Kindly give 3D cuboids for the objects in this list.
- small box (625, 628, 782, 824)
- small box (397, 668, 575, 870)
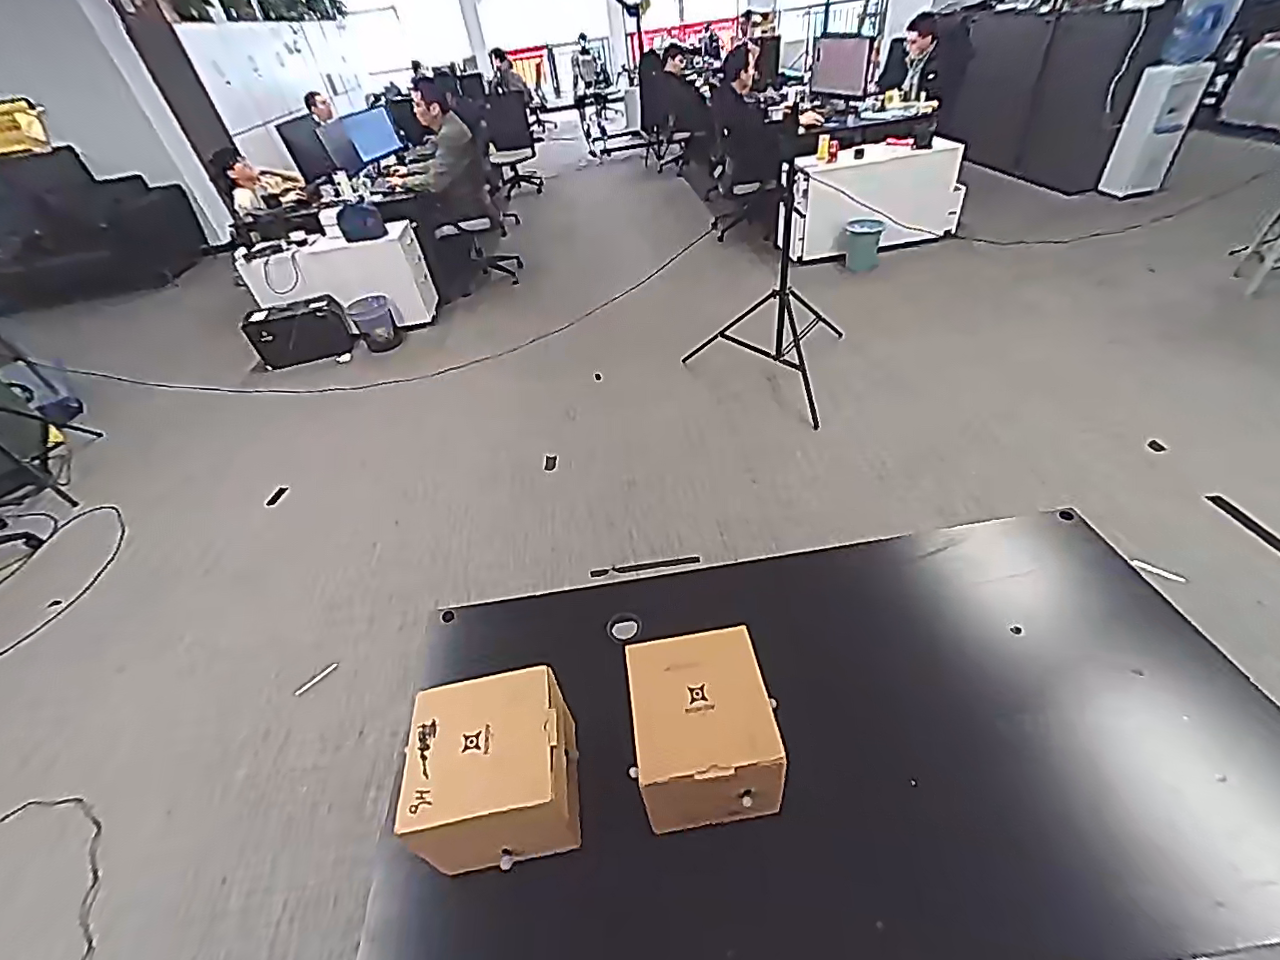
[{"bbox_3d":[0.077,0.325,0.708,0.168,0.176,0.179,-9,40,-2],"label":"small box"},{"bbox_3d":[-0.181,0.370,0.695,0.179,0.176,0.168,-9,41,-4],"label":"small box"}]
